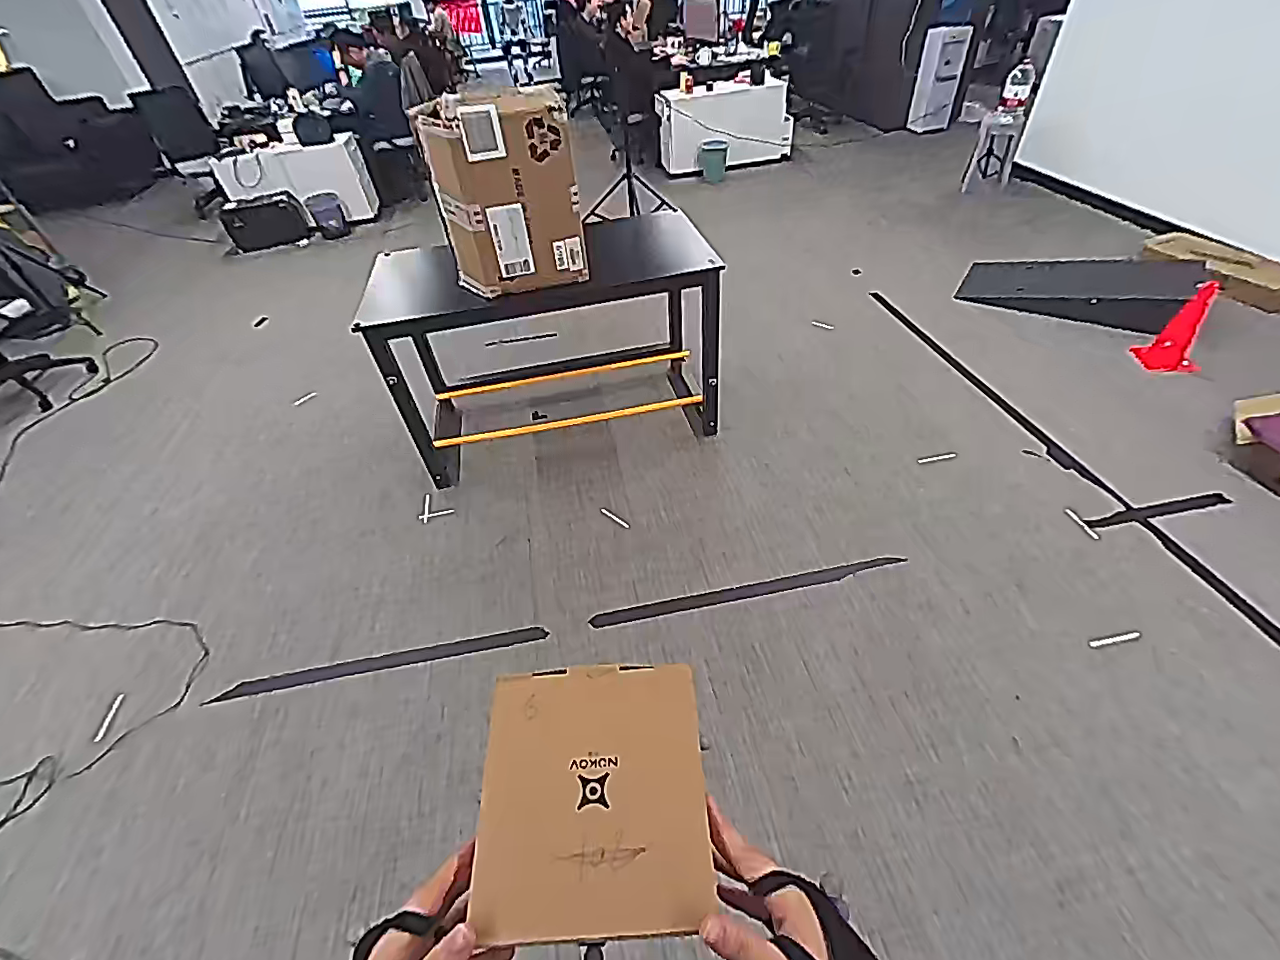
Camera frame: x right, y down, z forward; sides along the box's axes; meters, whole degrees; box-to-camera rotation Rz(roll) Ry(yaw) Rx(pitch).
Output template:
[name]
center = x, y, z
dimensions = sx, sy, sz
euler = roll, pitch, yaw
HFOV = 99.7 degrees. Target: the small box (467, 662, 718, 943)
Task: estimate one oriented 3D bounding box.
[small box]
center = -0.031, 0.275, 0.461
dimensions = 0.168, 0.176, 0.179
euler = -4, 49, 0
